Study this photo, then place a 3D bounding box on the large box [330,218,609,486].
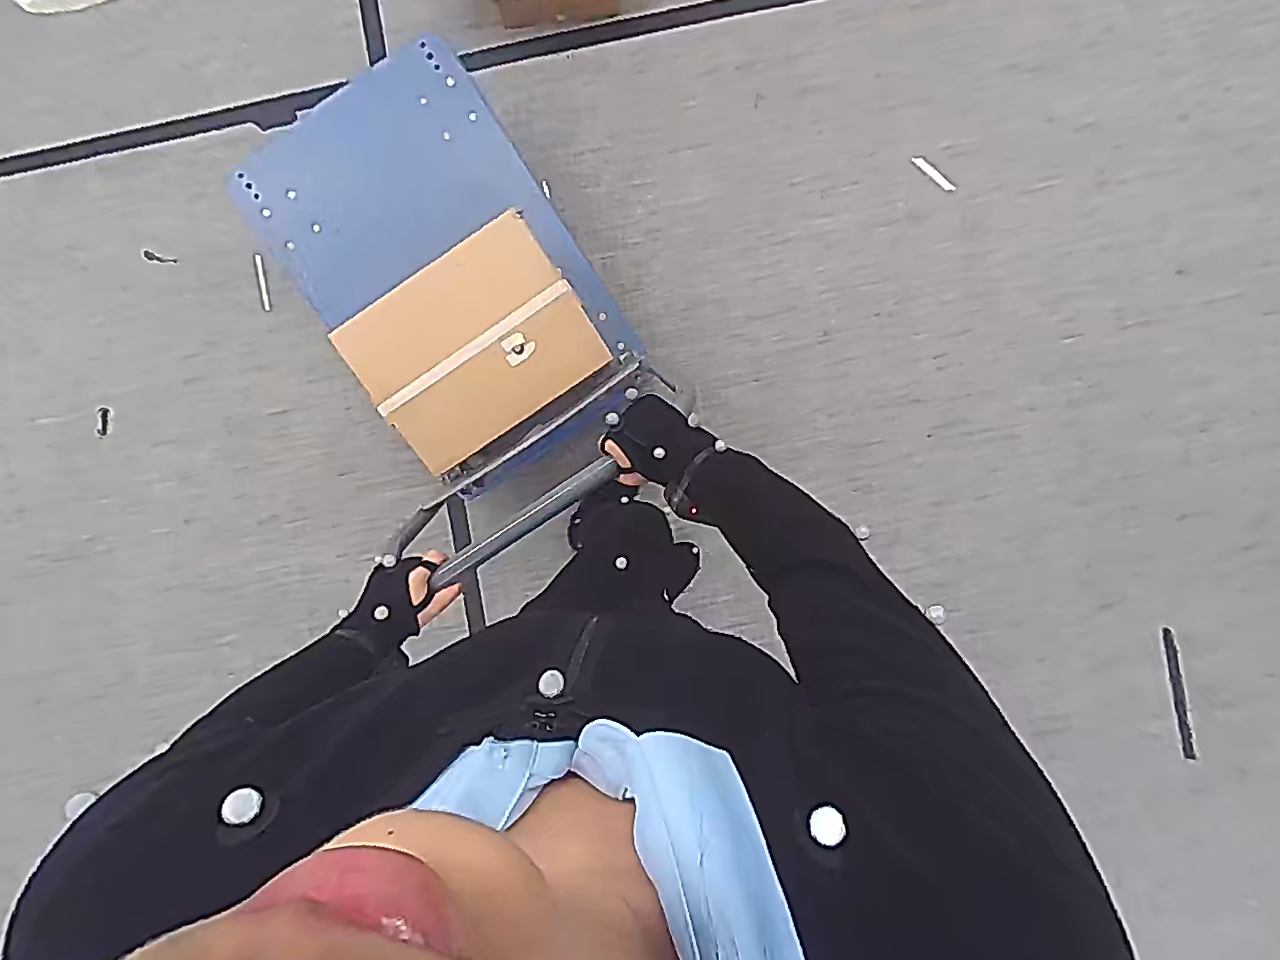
[{"bbox_3d":[-0.314,-0.243,1.111,0.408,0.320,0.320,-34,102,1],"label":"large box"}]
